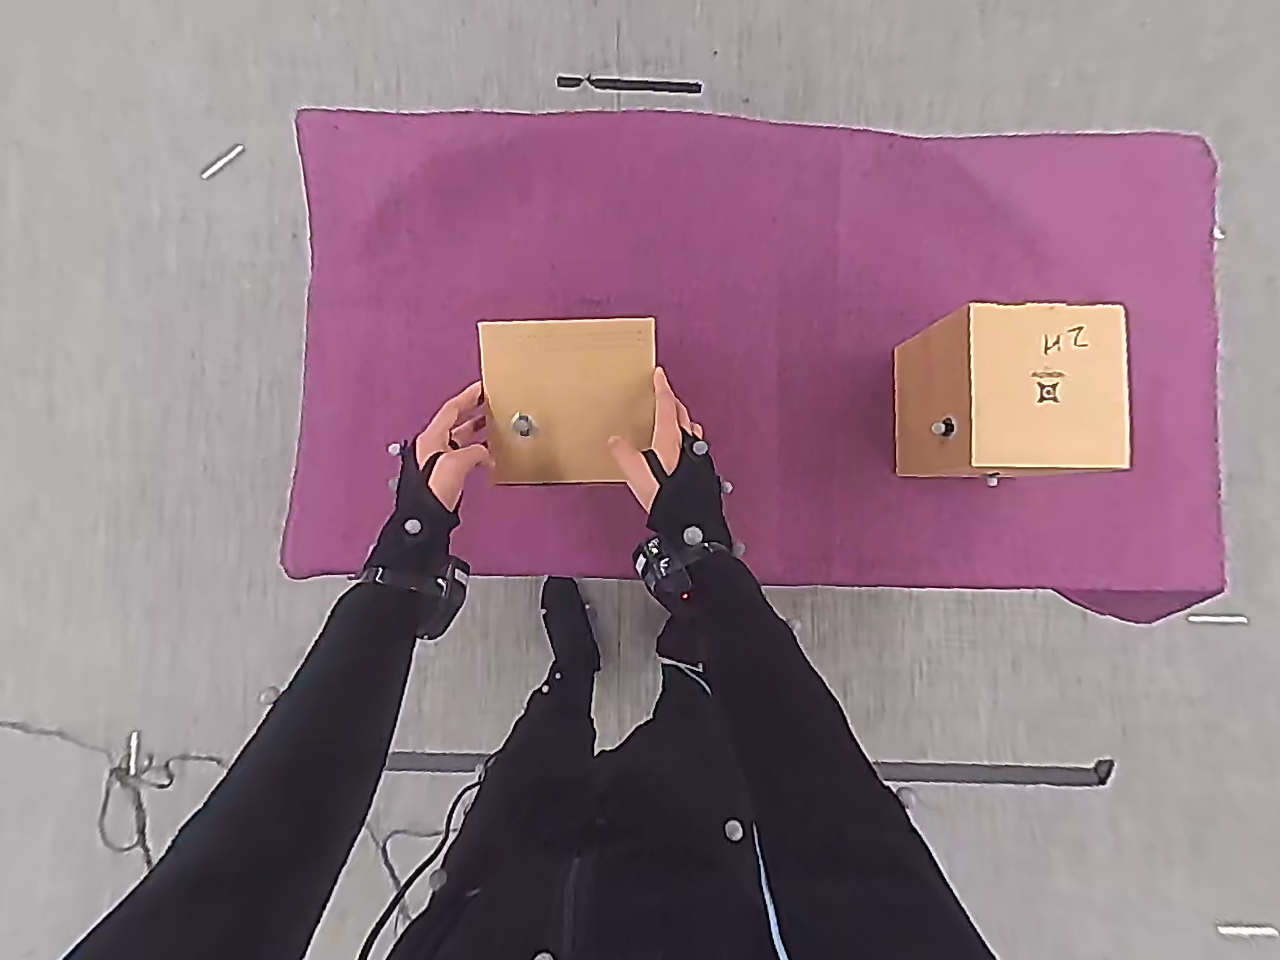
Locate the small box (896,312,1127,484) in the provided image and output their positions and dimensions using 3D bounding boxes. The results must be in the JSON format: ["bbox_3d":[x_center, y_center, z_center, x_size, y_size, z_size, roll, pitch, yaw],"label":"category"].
[{"bbox_3d":[0.426,-0.085,0.646,0.168,0.176,0.179,1,87,0],"label":"small box"}]
